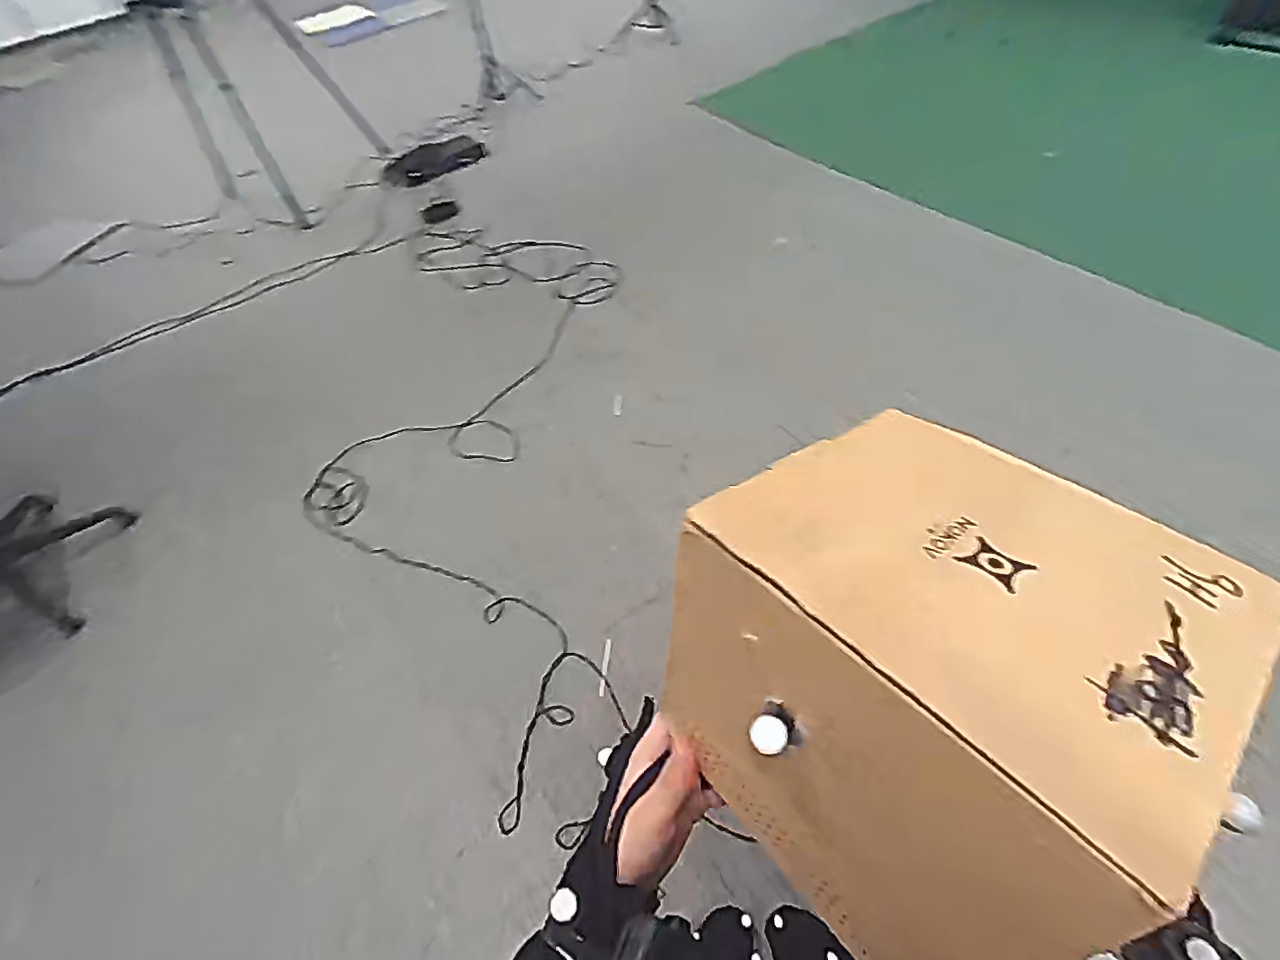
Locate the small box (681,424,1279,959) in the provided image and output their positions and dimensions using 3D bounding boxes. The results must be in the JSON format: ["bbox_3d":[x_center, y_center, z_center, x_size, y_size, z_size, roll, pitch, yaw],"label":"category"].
[{"bbox_3d":[0.135,0.100,0.272,0.168,0.176,0.179,-25,44,-30],"label":"small box"}]
